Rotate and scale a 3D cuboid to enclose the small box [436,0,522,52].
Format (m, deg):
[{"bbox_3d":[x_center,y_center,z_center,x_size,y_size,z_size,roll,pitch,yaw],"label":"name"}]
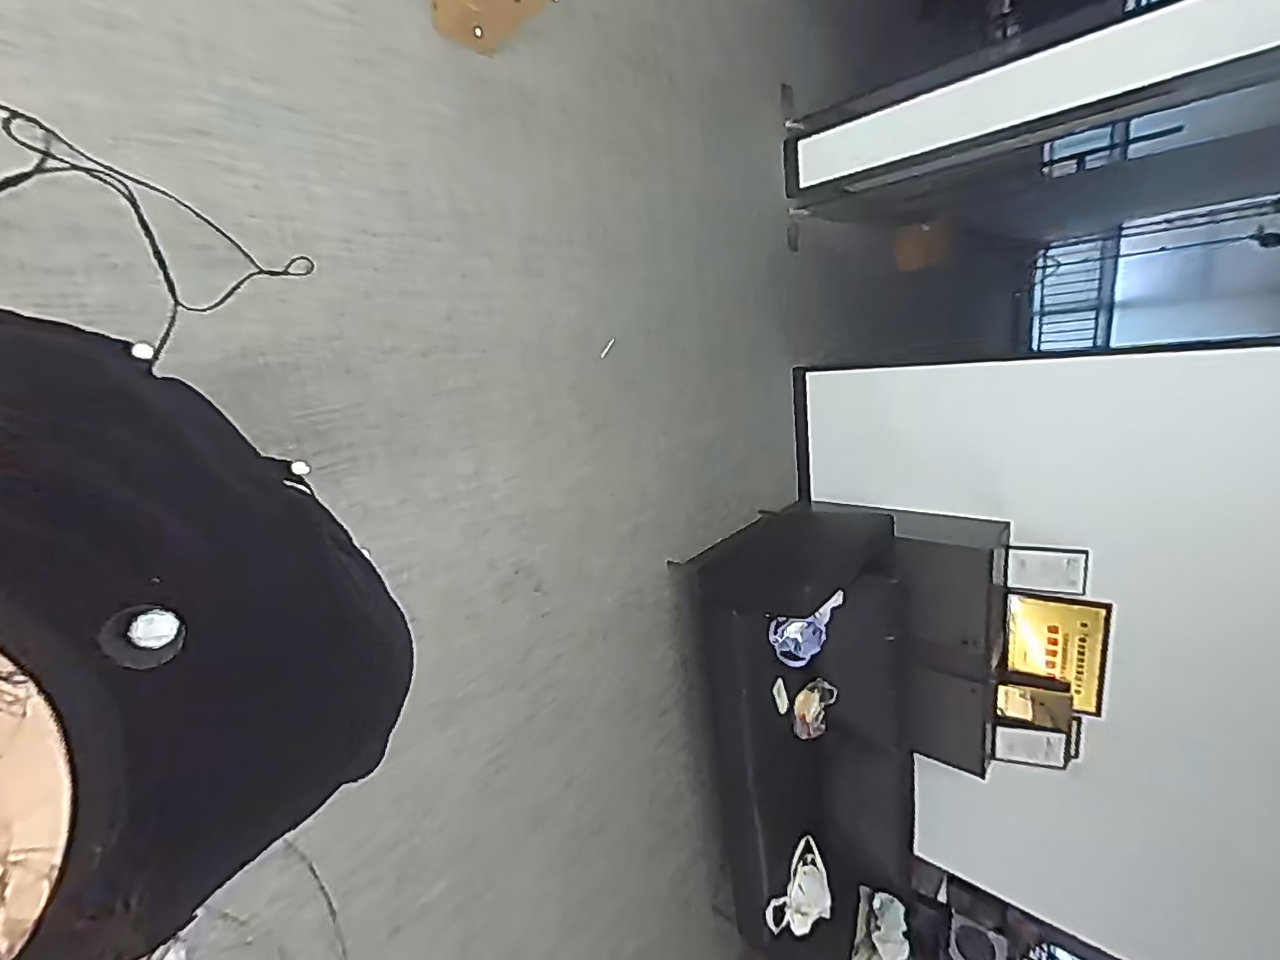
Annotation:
[{"bbox_3d":[-0.453,-1.331,1.492,0.179,0.176,0.168,-17,108,-44],"label":"small box"}]

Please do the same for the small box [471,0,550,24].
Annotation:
[{"bbox_3d":[-0.336,-1.316,1.376,0.179,0.176,0.168,-16,107,-46],"label":"small box"}]
